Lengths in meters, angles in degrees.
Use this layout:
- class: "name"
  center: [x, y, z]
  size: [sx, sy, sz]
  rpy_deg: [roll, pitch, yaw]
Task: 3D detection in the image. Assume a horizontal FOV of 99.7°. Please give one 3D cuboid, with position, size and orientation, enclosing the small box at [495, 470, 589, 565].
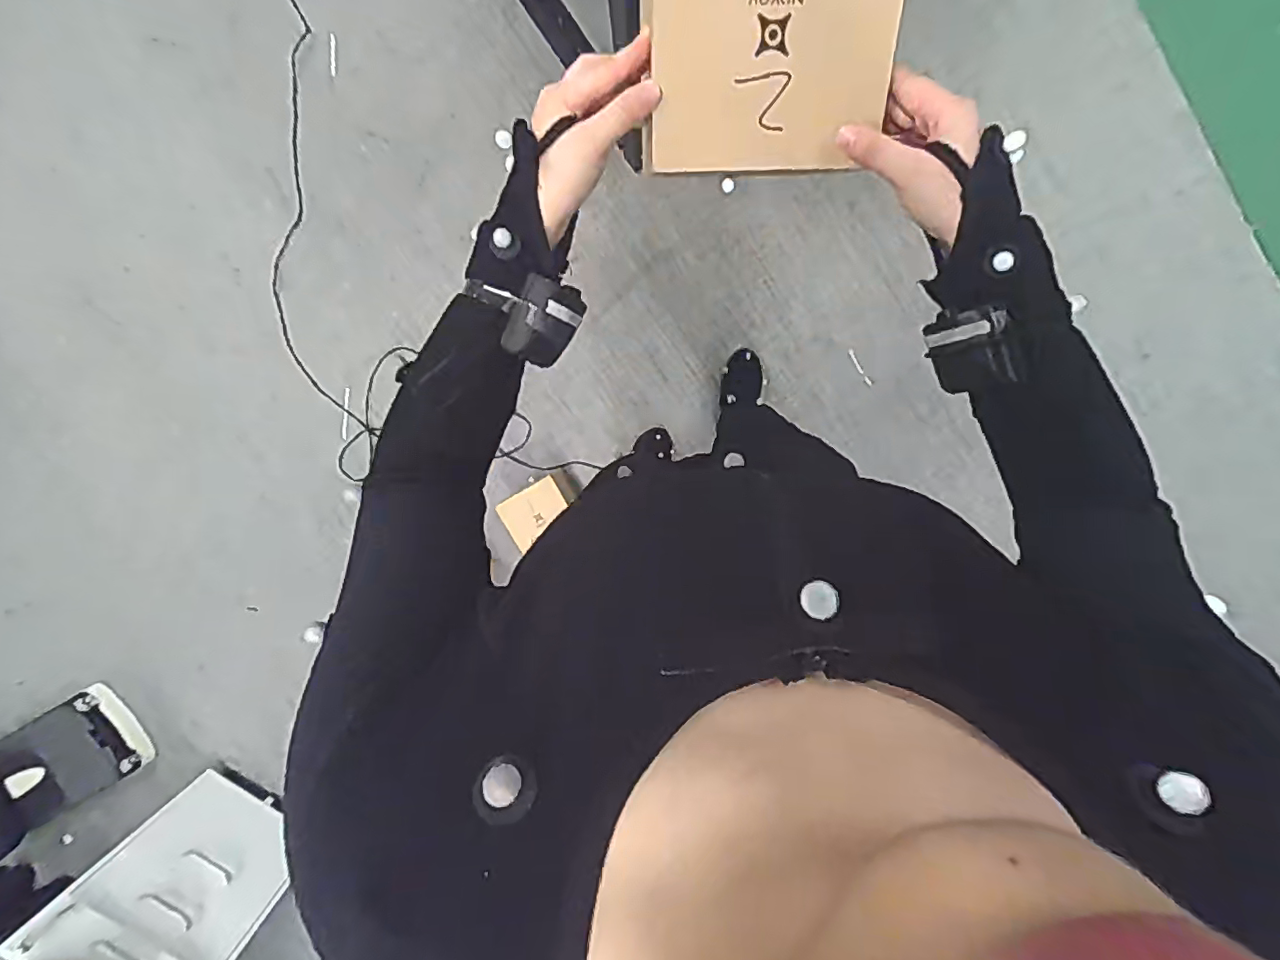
- class: "small box"
  center: [-0.250, 0.092, 1.426]
  size: [0.168, 0.176, 0.179]
  rpy_deg: [-29, 97, 4]
